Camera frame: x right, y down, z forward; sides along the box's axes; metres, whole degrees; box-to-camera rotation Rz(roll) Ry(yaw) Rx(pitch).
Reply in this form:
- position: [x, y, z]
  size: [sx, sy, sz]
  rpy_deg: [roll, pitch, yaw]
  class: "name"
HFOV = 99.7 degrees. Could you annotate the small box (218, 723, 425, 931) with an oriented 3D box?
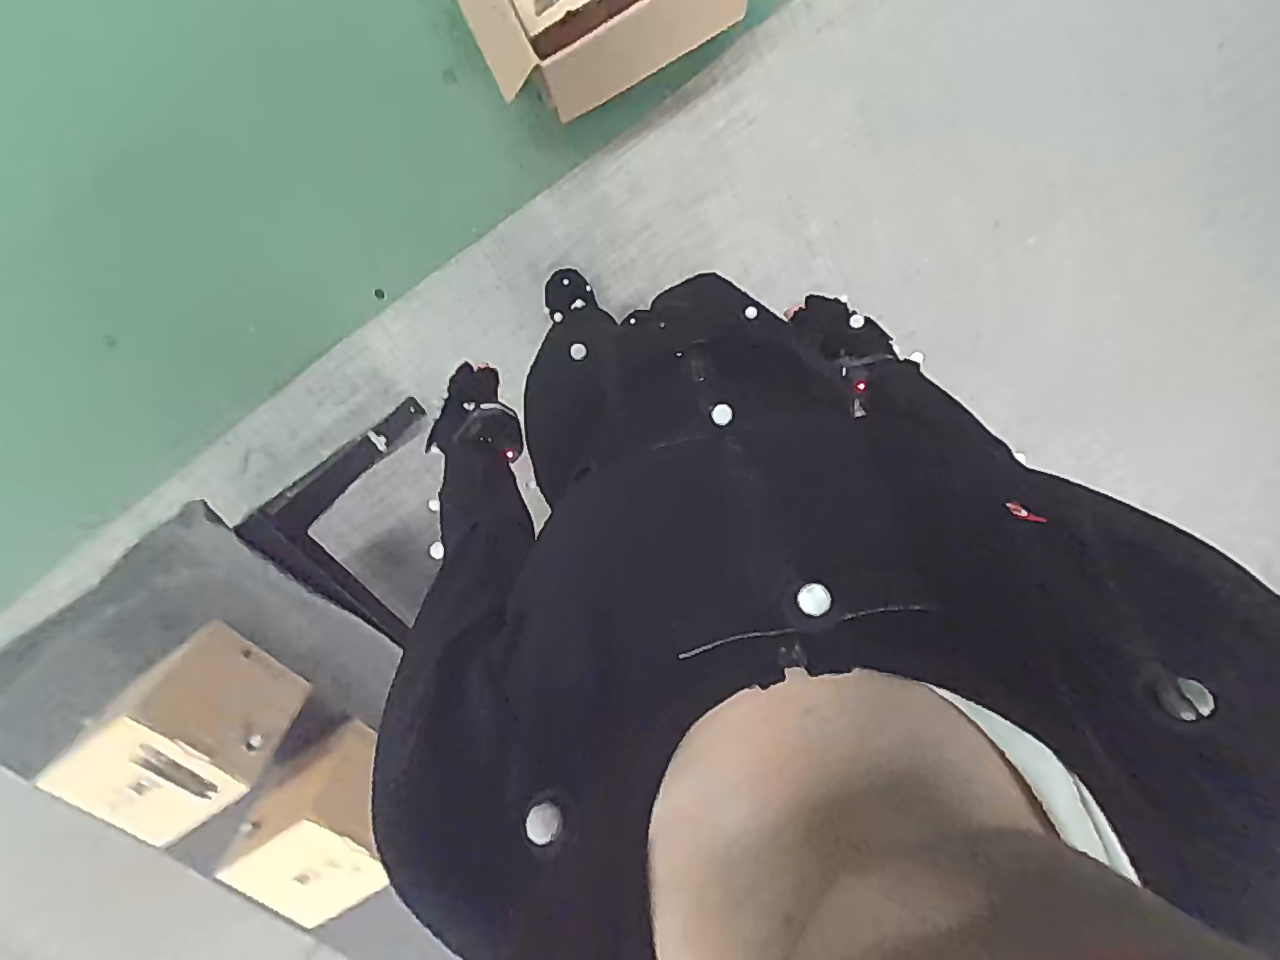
- position: [-0.455, 0.509, 0.807]
  size: [0.179, 0.176, 0.168]
  rpy_deg: [-34, 113, 8]
  class: "small box"
